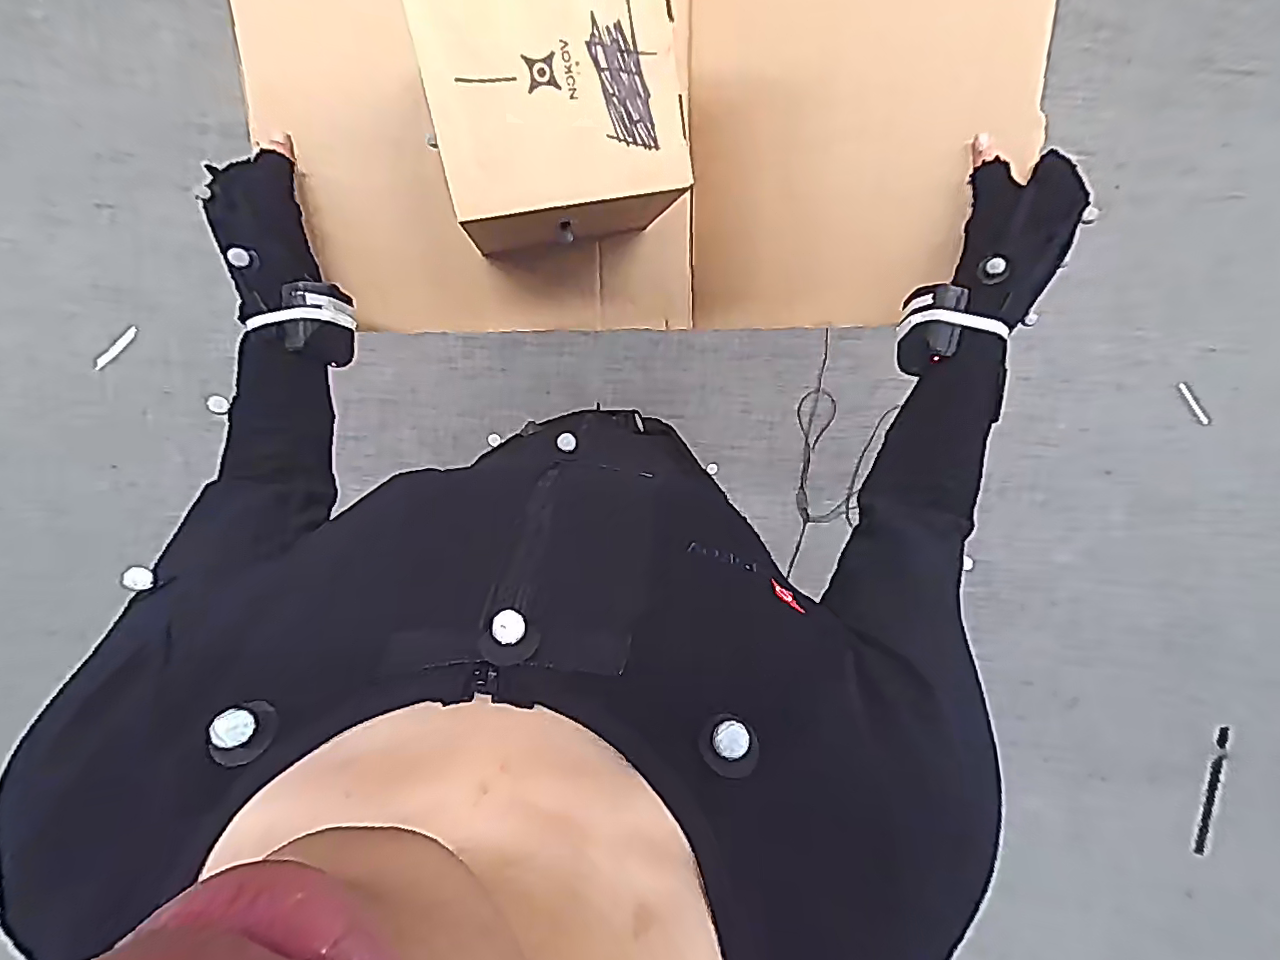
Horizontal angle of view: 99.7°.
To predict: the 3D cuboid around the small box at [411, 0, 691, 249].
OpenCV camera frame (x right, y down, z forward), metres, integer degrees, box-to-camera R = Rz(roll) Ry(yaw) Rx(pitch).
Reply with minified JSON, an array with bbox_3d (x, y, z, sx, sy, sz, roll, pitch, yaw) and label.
[{"bbox_3d":[-0.071,-0.301,0.452,0.179,0.176,0.168,-12,107,-7],"label":"small box"}]
